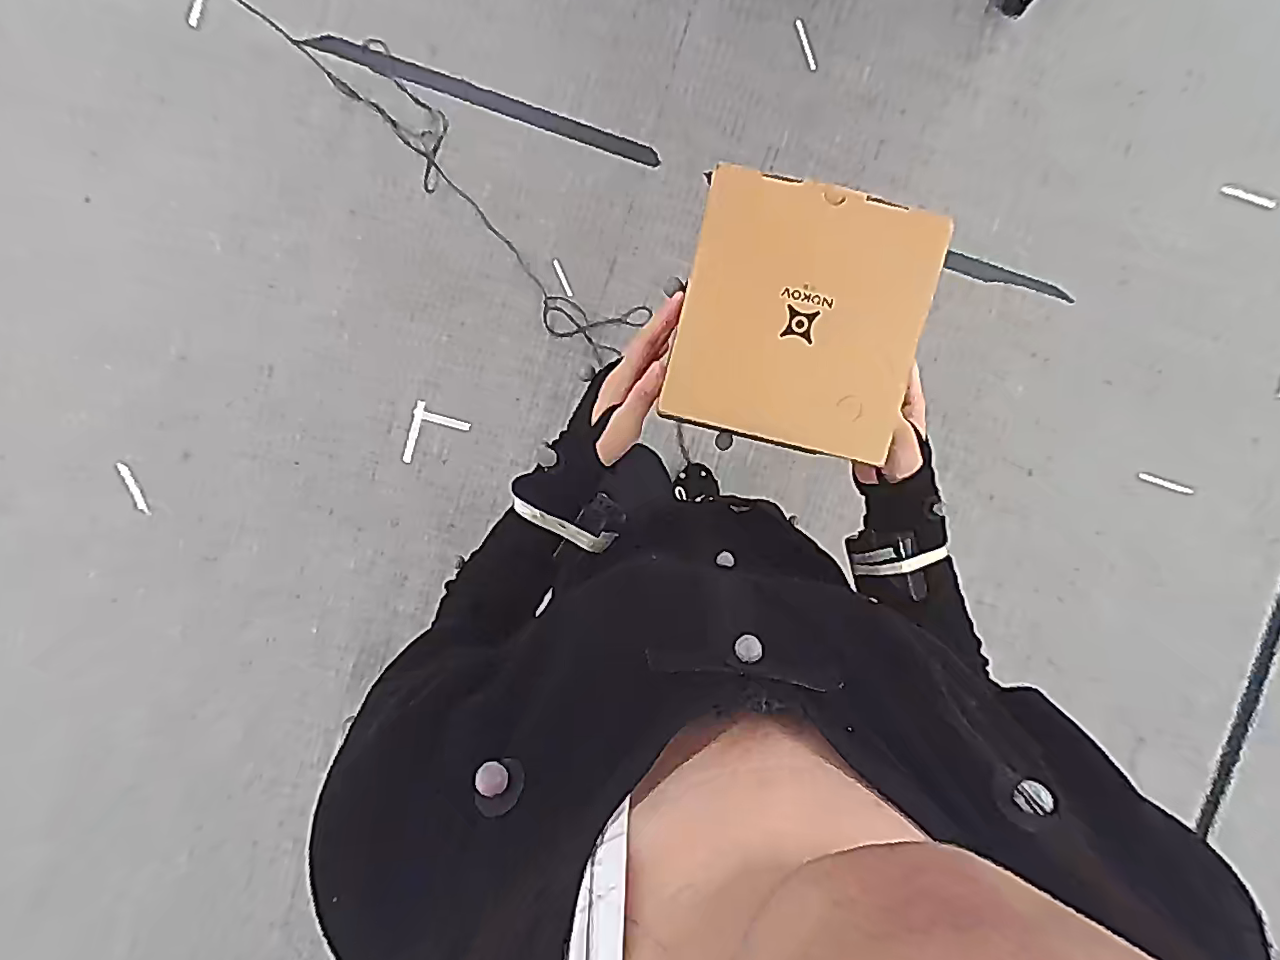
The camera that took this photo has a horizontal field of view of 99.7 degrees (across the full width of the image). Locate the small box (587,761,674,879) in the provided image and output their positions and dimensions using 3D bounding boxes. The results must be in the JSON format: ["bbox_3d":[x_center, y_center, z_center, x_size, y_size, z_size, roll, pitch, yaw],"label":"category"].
[{"bbox_3d":[-0.021,0.788,1.271,0.179,0.176,0.168,7,91,0],"label":"small box"}]

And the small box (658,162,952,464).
[{"bbox_3d":[0.115,-0.119,0.450,0.168,0.176,0.179,13,95,1],"label":"small box"}]
